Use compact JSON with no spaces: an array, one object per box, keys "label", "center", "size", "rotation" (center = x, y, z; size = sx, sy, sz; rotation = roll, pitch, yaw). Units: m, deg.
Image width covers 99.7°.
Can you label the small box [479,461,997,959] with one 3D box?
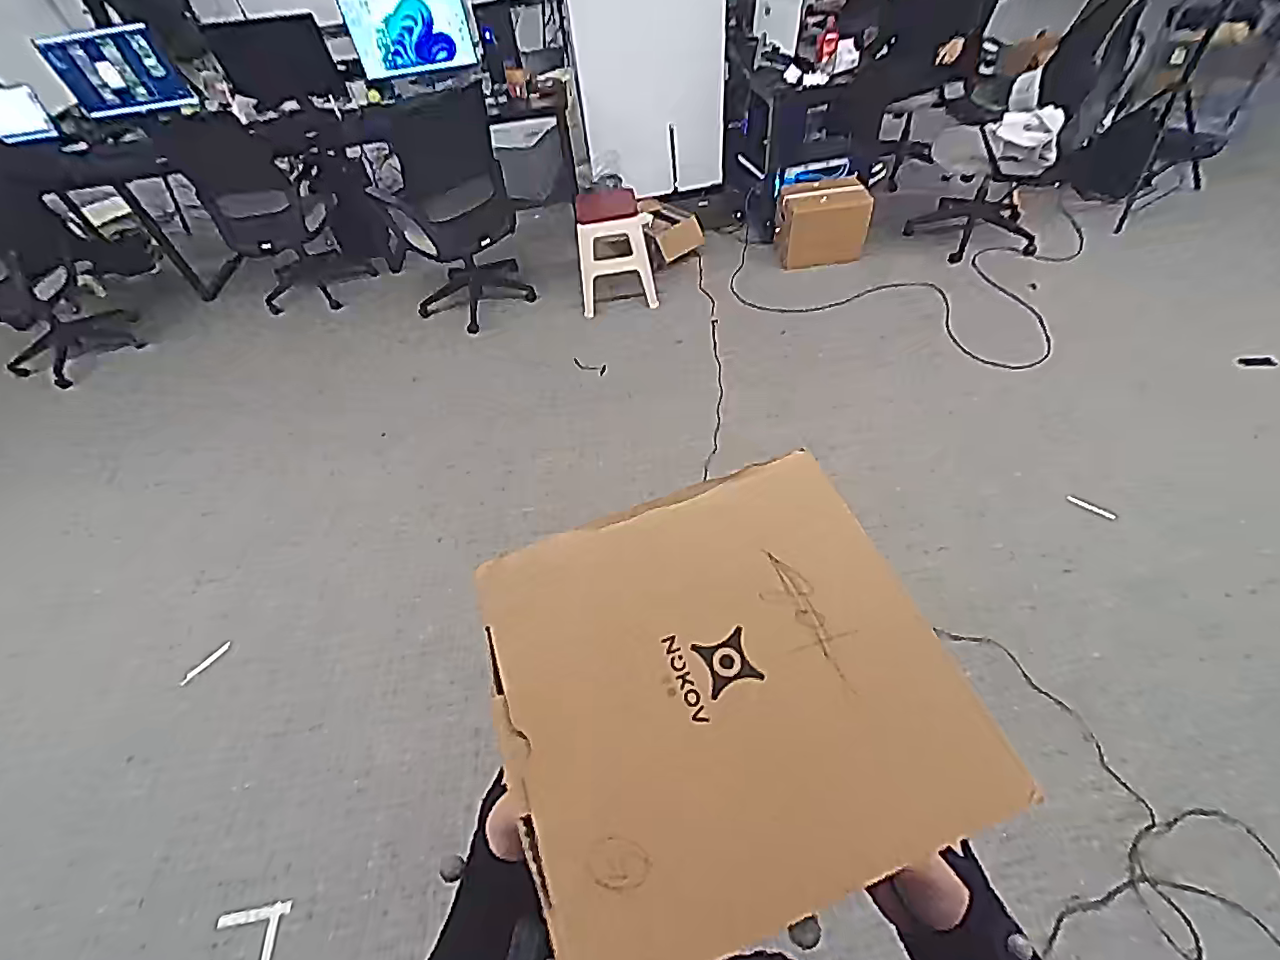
[{"label":"small box","center":[0.033,0.123,0.300],"size":[0.179,0.176,0.168],"rotation":[-19,59,-10]}]
